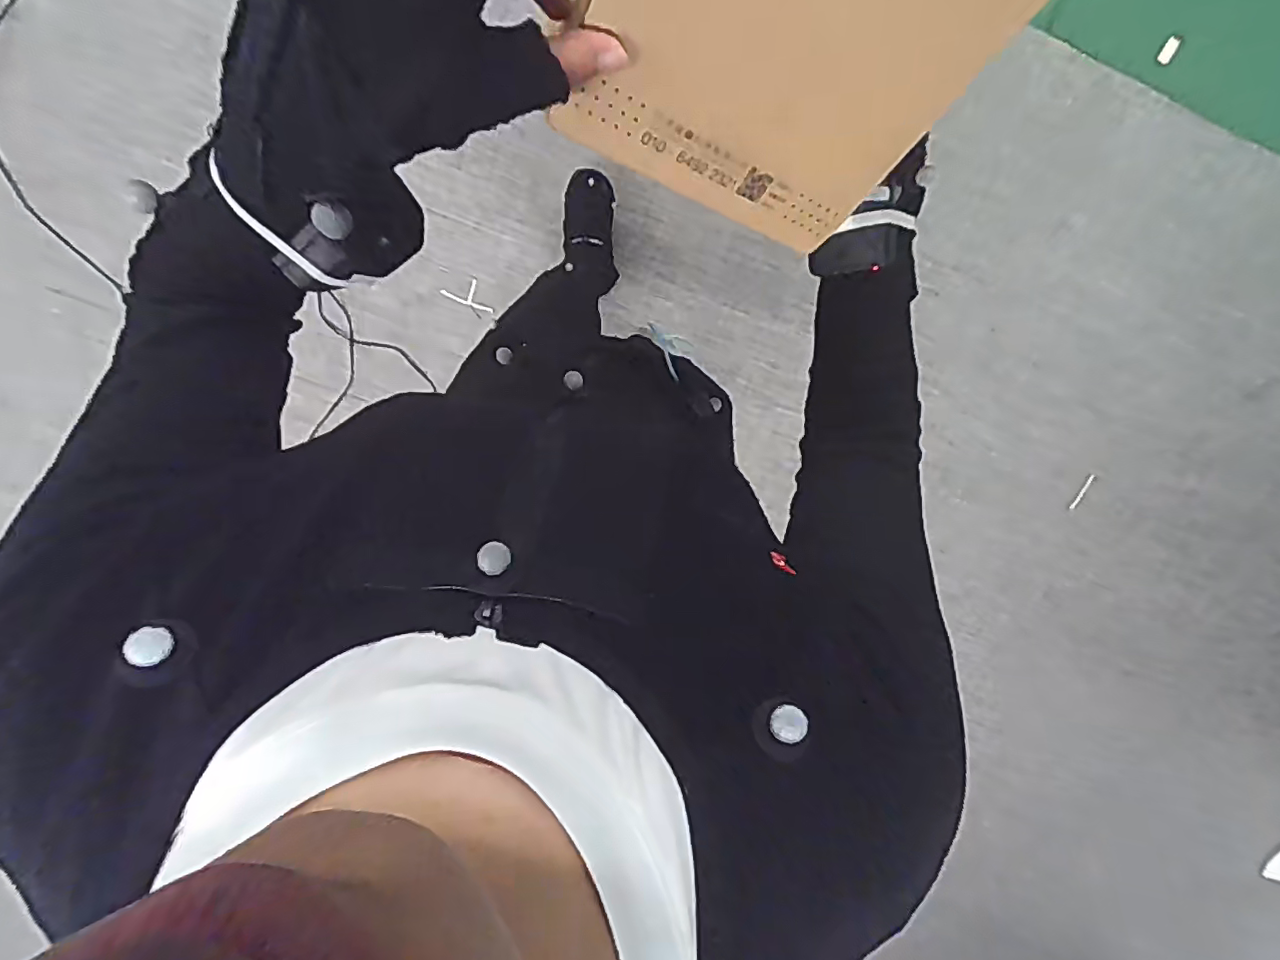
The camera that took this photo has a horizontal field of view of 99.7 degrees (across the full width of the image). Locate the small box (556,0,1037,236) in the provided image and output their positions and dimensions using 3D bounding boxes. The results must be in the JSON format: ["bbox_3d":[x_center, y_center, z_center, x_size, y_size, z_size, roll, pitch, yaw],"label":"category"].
[{"bbox_3d":[0.063,-0.265,0.267,0.168,0.179,0.176,11,147,-28],"label":"small box"}]
